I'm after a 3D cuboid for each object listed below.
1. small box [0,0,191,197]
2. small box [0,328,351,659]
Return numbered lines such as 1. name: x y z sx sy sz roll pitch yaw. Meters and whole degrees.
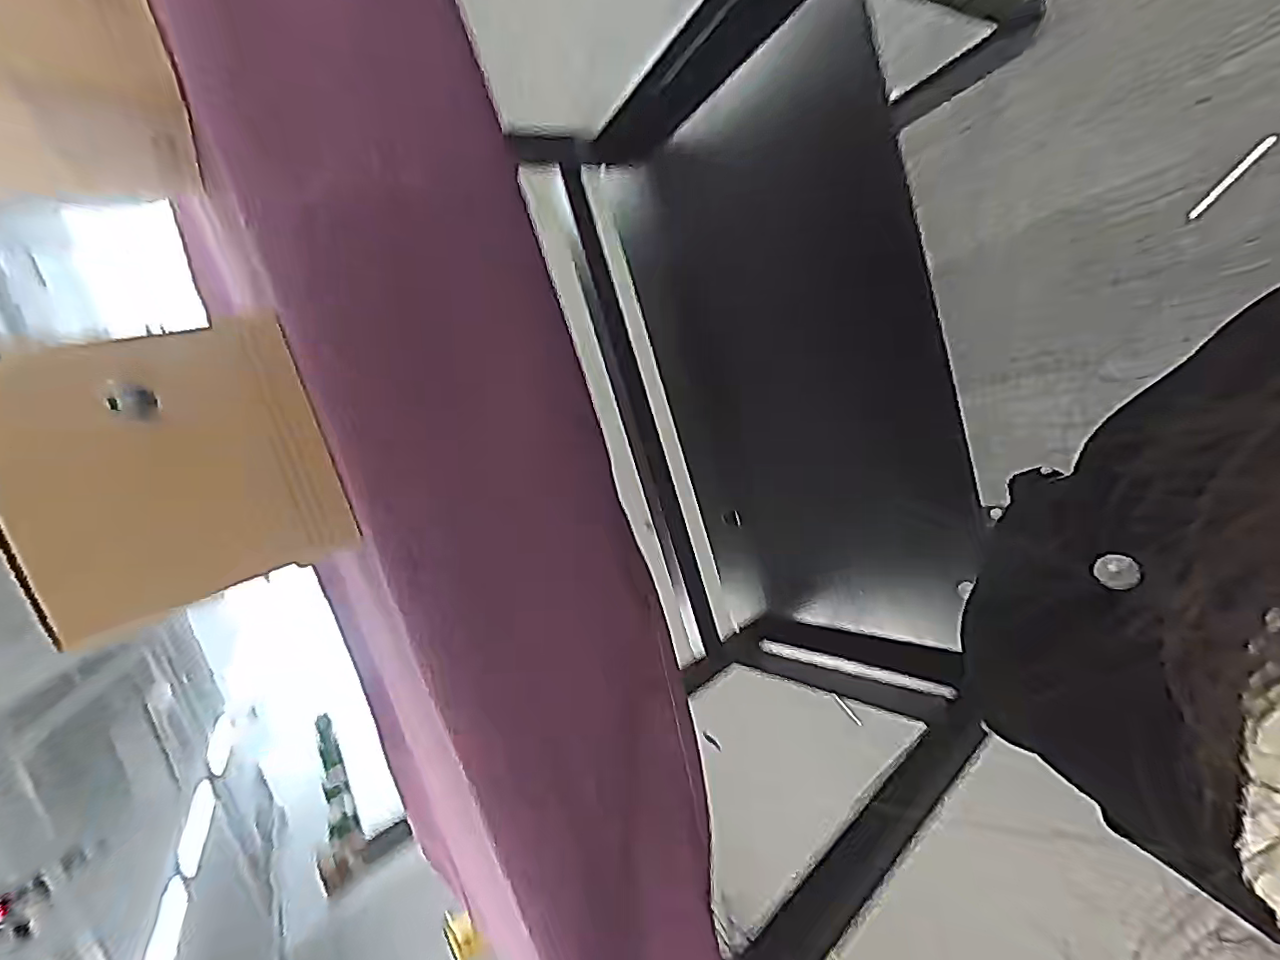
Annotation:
1. small box: -0.440 -0.309 0.365 0.168 0.176 0.179 2 110 56
2. small box: -0.338 -0.004 0.397 0.168 0.176 0.179 -3 106 57
